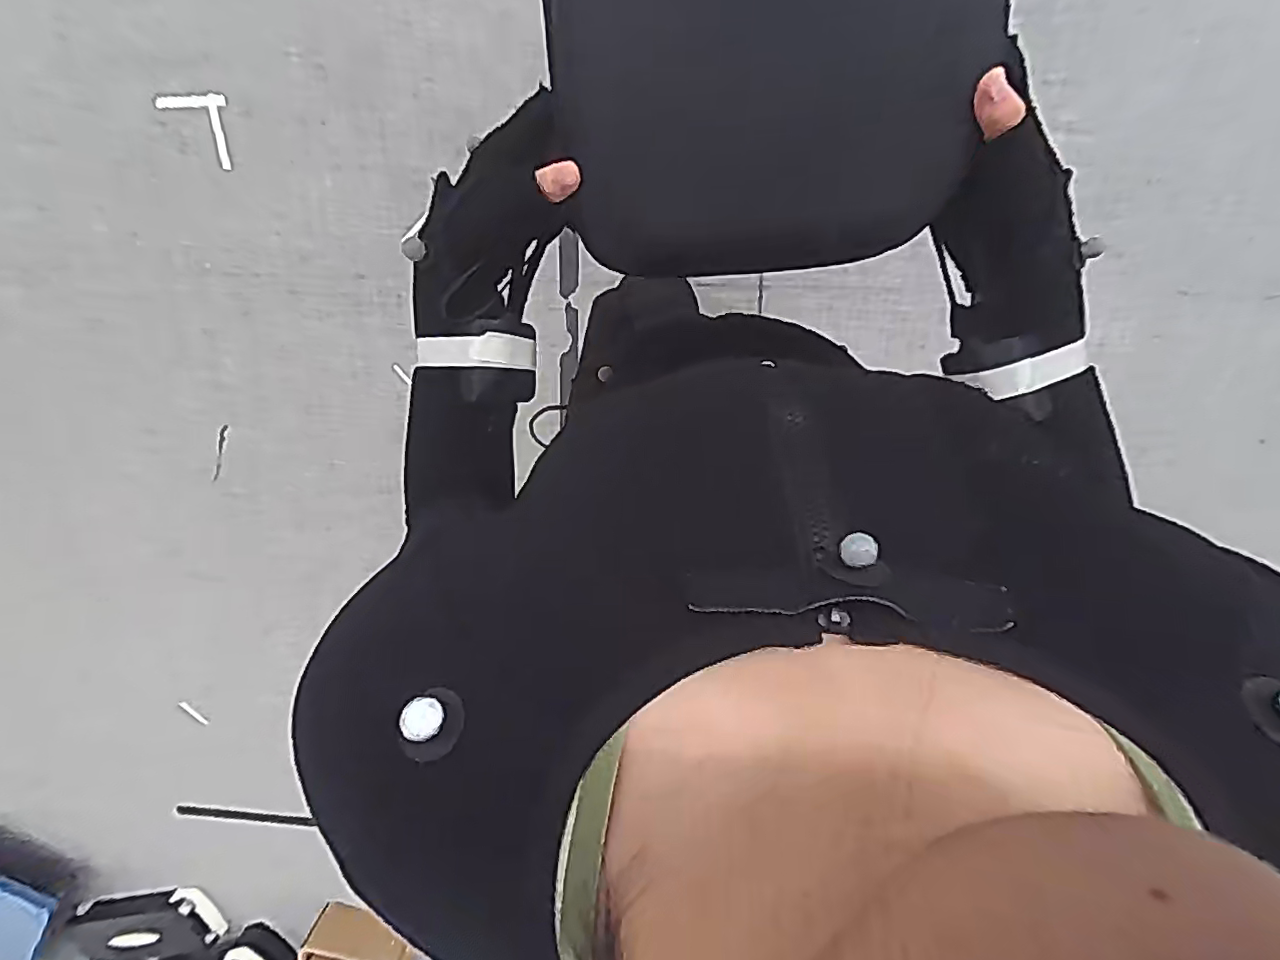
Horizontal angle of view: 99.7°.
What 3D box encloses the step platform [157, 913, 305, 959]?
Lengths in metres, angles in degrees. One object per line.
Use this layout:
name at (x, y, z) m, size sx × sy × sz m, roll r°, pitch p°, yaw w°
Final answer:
step platform at (-1.891, 2.204, 2.435) m, size 0.684 × 0.204 × 0.286 m, roll -25°, pitch 107°, yaw 12°
